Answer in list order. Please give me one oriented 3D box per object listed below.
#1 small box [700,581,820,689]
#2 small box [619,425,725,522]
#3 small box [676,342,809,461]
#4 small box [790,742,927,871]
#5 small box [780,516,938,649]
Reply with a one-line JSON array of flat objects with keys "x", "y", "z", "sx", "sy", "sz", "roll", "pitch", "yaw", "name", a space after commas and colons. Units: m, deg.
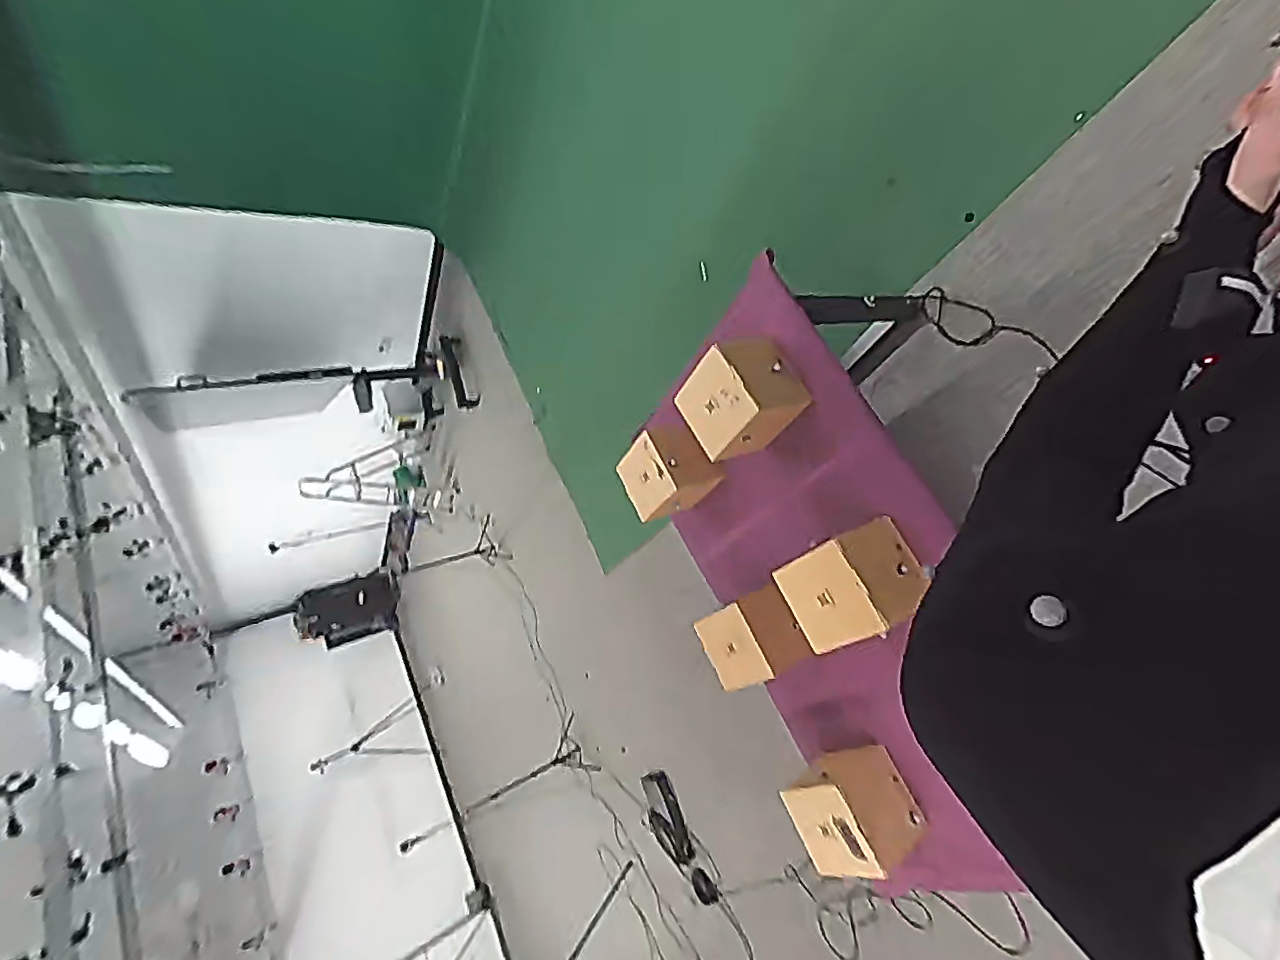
[{"x": 0.277, "y": 0.351, "z": 1.234, "sx": 0.179, "sy": 0.176, "sz": 0.168, "roll": -46, "pitch": 66, "yaw": 48, "name": "small box"}, {"x": 0.080, "y": -0.019, "z": 1.355, "sx": 0.168, "sy": 0.176, "sz": 0.179, "roll": 61, "pitch": 142, "yaw": 17, "name": "small box"}, {"x": 0.212, "y": -0.165, "z": 1.122, "sx": 0.168, "sy": 0.176, "sz": 0.179, "roll": 59, "pitch": 141, "yaw": 17, "name": "small box"}, {"x": 0.453, "y": 0.661, "z": 1.108, "sx": 0.168, "sy": 0.176, "sz": 0.179, "roll": 62, "pitch": 141, "yaw": 18, "name": "small box"}, {"x": 0.404, "y": 0.189, "z": 1.005, "sx": 0.168, "sy": 0.176, "sz": 0.179, "roll": 62, "pitch": 143, "yaw": 17, "name": "small box"}]
